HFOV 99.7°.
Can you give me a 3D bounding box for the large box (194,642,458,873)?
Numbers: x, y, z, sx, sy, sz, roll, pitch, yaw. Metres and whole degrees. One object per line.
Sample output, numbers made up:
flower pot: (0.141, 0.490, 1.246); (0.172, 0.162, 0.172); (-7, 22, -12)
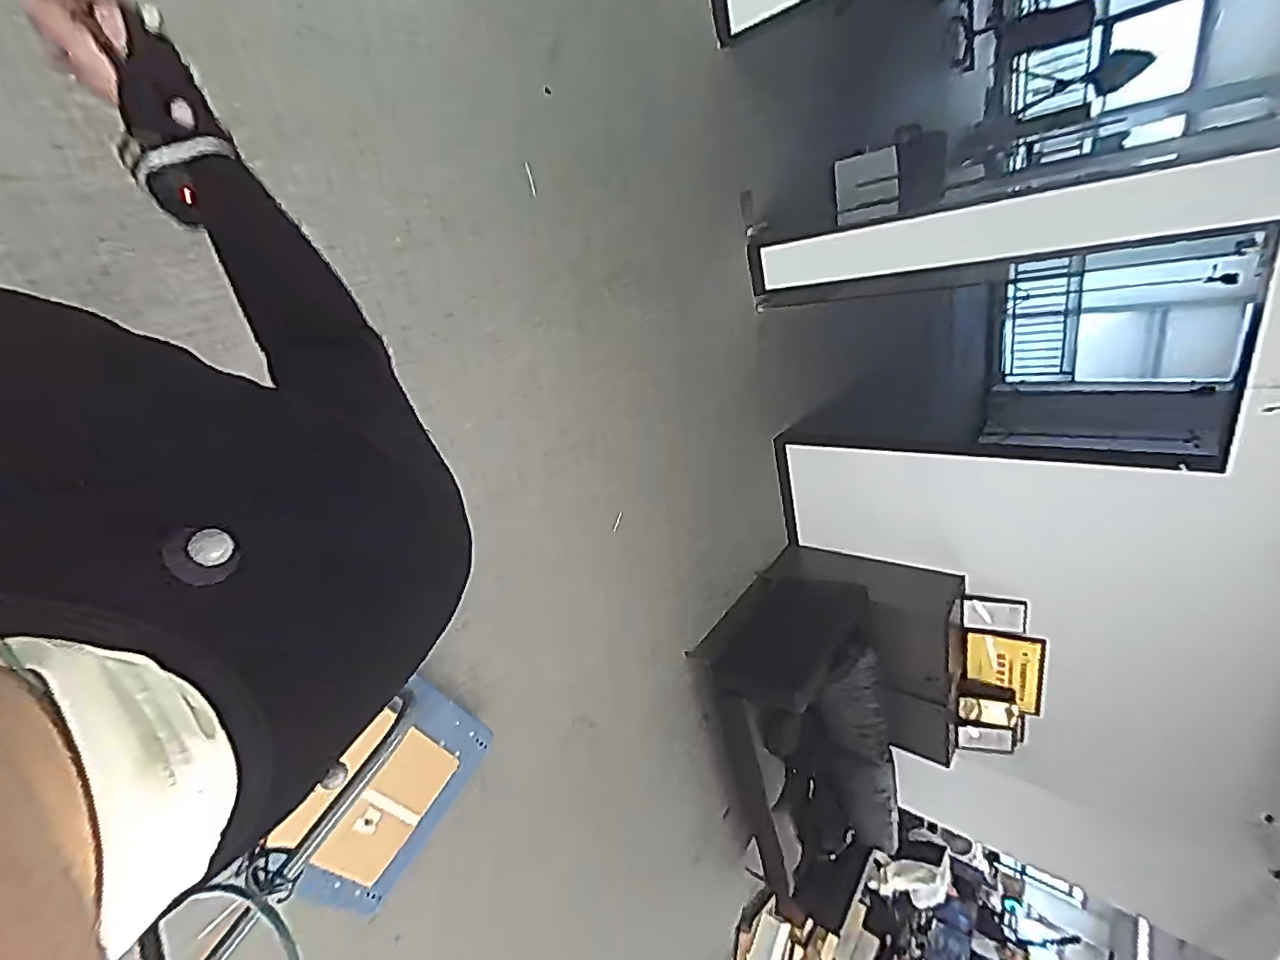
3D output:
large box: (-0.744, 0.662, 1.315); (0.320, 0.320, 0.408); (-53, 133, -30)
